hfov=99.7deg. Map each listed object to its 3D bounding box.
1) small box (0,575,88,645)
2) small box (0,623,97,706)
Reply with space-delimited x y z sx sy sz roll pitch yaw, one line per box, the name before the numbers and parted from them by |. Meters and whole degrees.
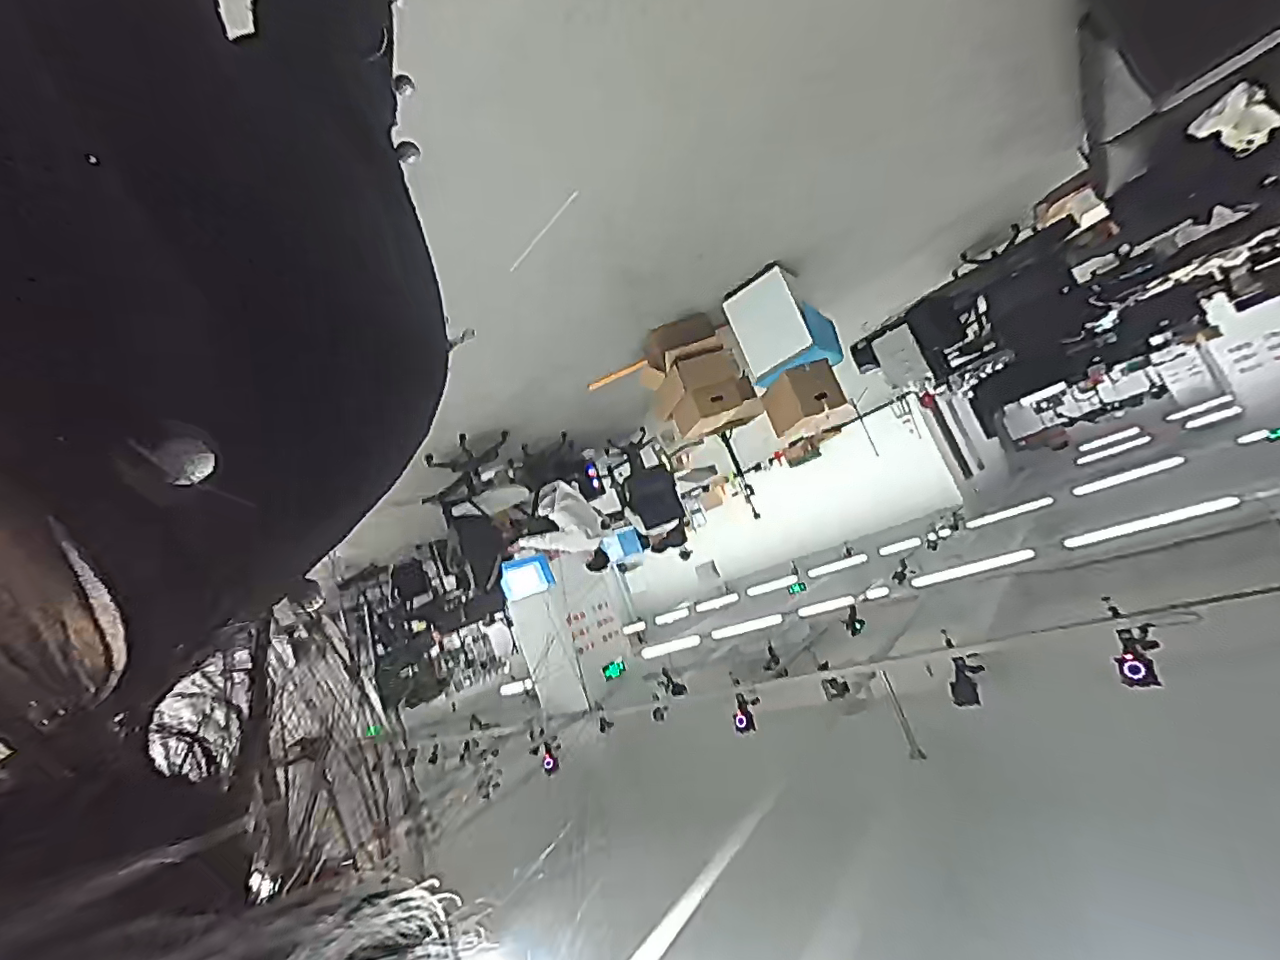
small box | -1.828 0.402 1.652 0.179 0.176 0.168 -11 165 -47
small box | -1.769 0.549 1.618 0.179 0.176 0.168 -13 166 -46
